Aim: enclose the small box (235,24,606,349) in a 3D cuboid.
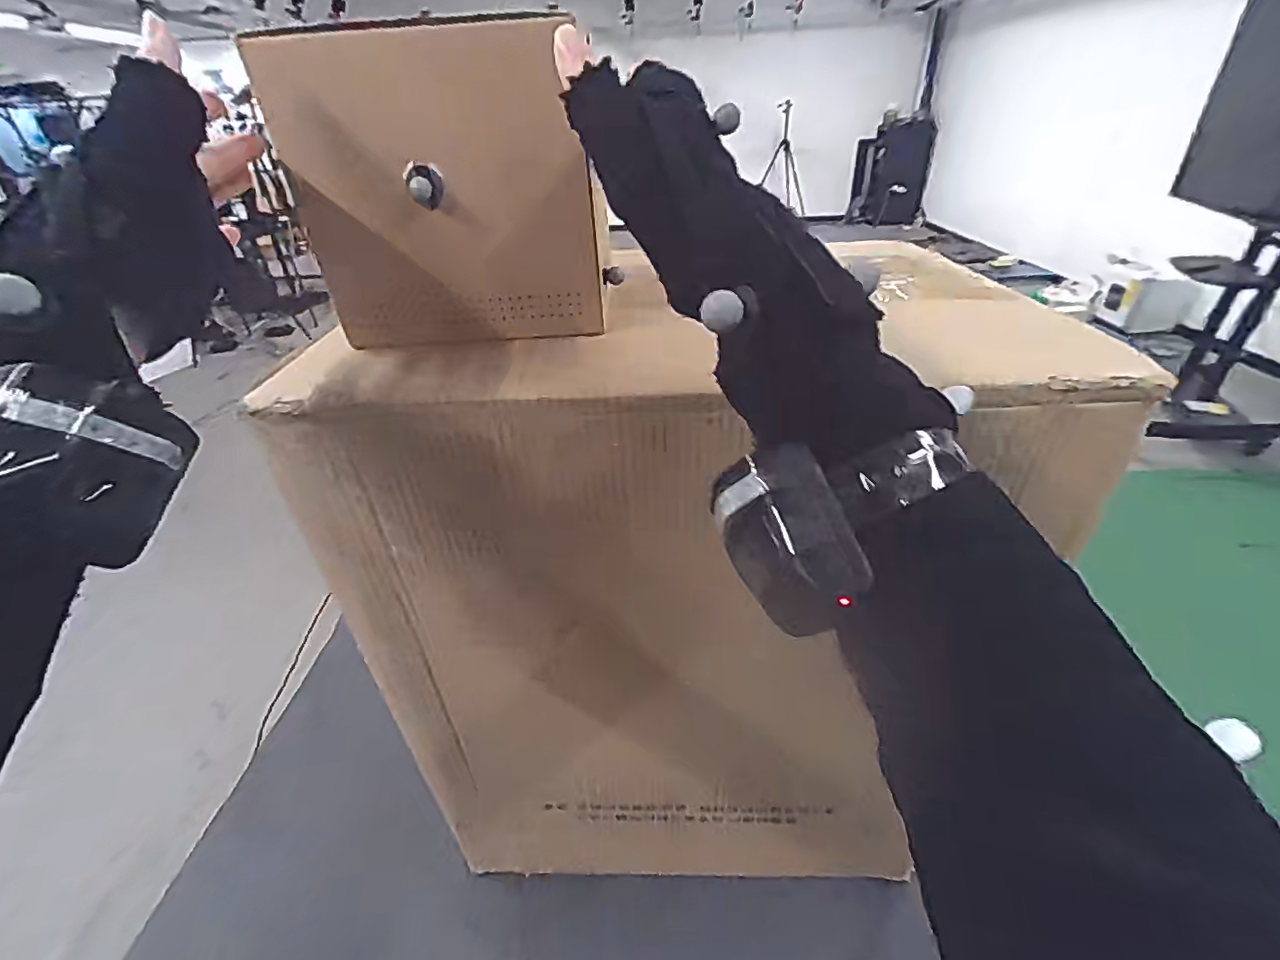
[{"bbox_3d":[-0.119,-0.206,0.387,0.179,0.176,0.168,-4,36,2],"label":"small box"}]
